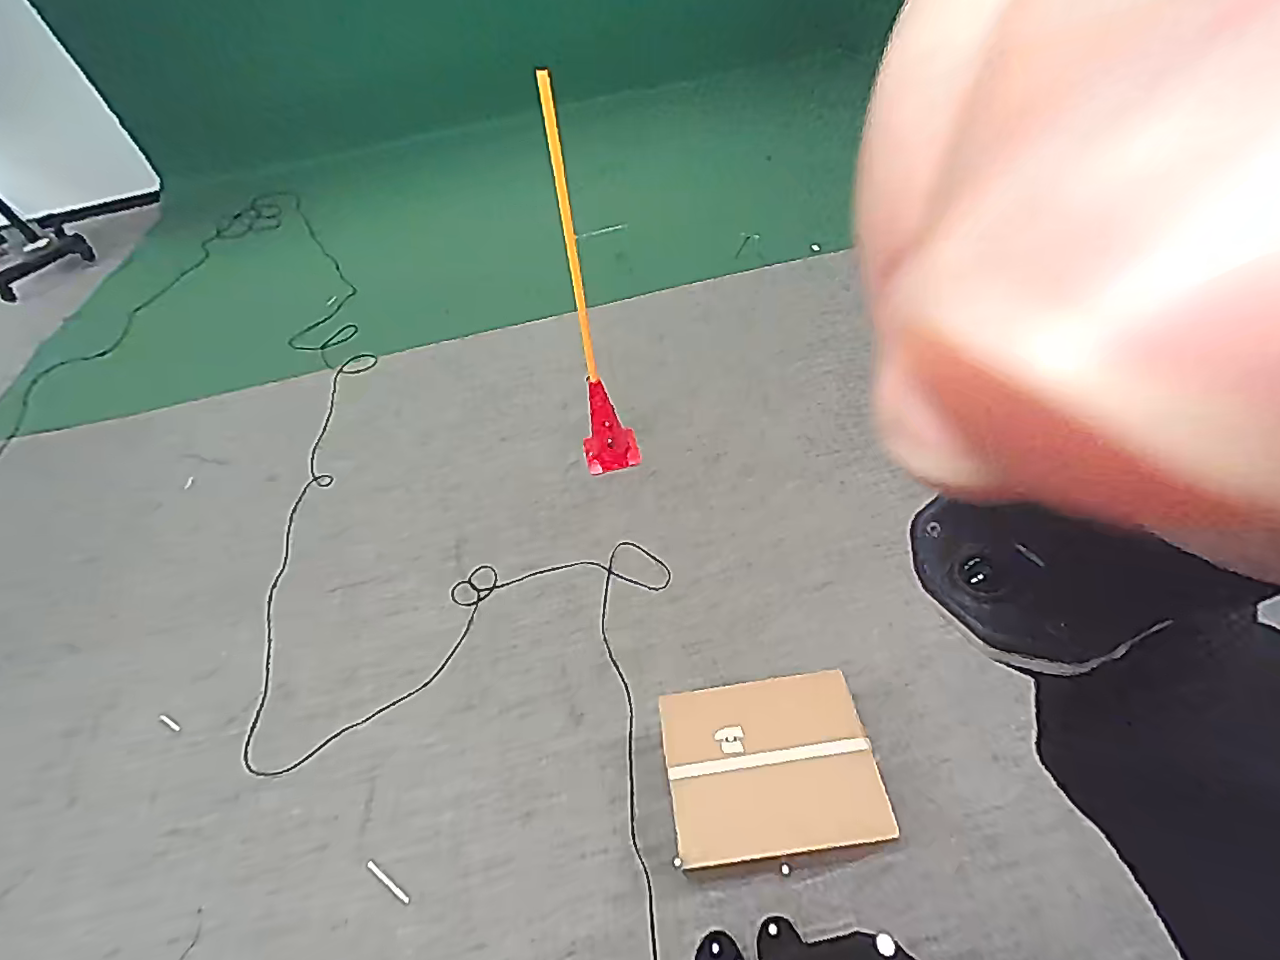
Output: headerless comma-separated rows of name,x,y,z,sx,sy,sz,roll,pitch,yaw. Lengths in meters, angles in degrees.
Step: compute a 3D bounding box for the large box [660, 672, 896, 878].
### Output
large box,0.276,0.657,1.194,0.408,0.320,0.320,-10,49,2
